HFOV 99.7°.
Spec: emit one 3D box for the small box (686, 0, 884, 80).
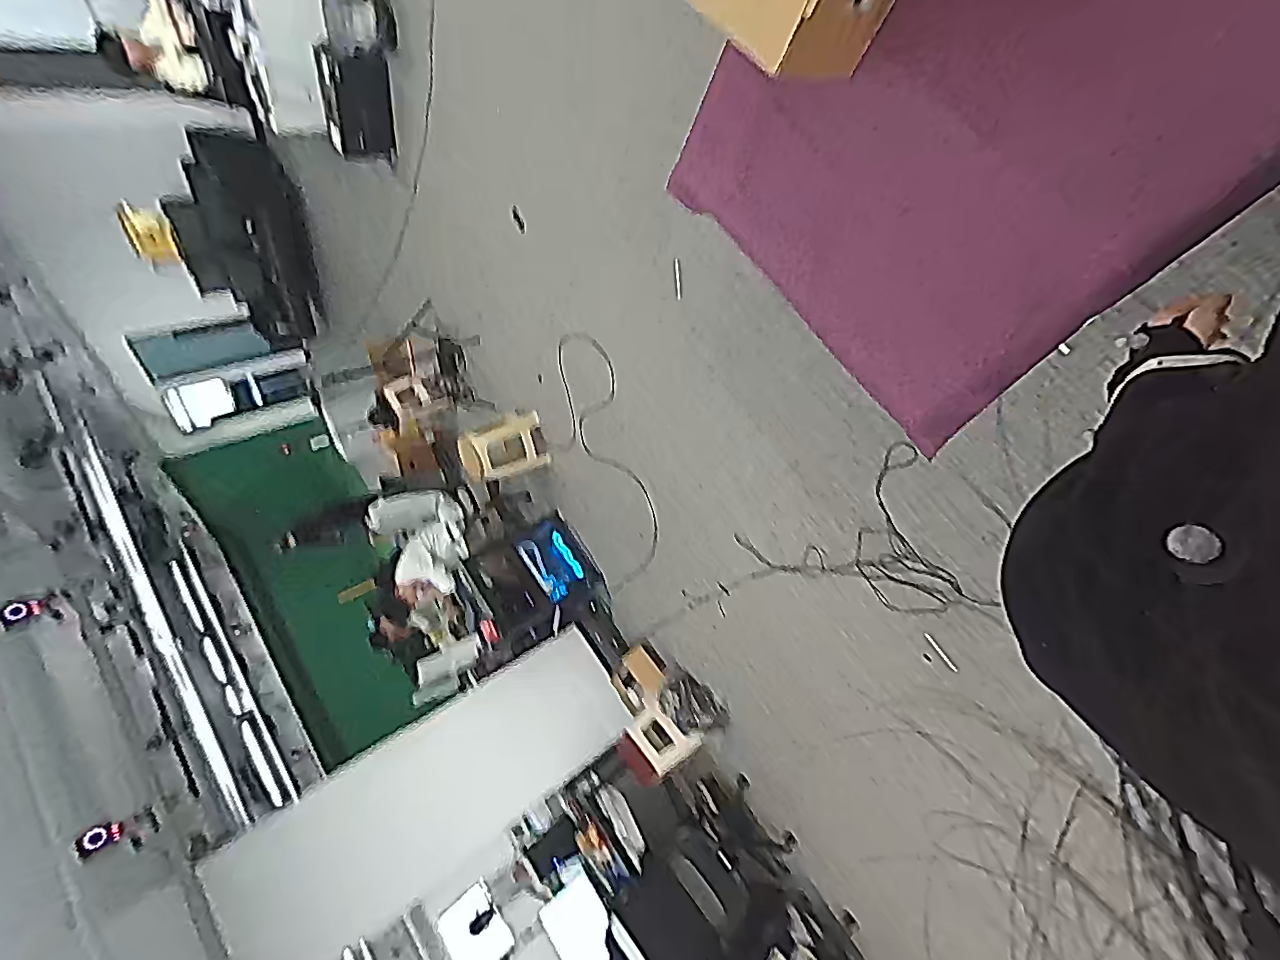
[{"bbox_3d":[0.185,-0.594,0.612,0.179,0.176,0.168,52,145,13],"label":"small box"}]
